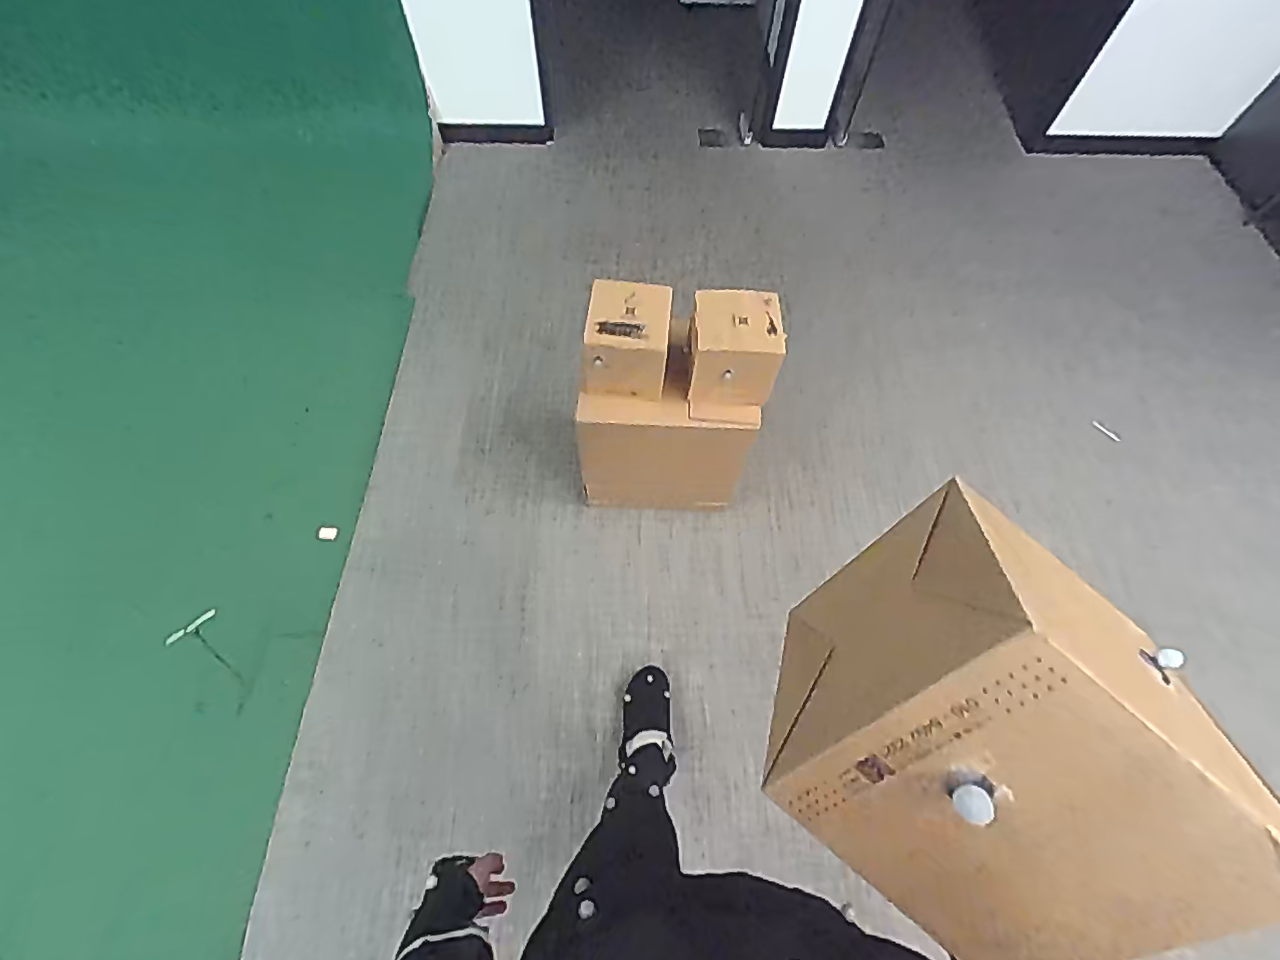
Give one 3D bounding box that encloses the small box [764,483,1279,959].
[{"bbox_3d":[0.199,0.128,0.330,0.176,0.168,0.179,40,29,4],"label":"small box"}]
